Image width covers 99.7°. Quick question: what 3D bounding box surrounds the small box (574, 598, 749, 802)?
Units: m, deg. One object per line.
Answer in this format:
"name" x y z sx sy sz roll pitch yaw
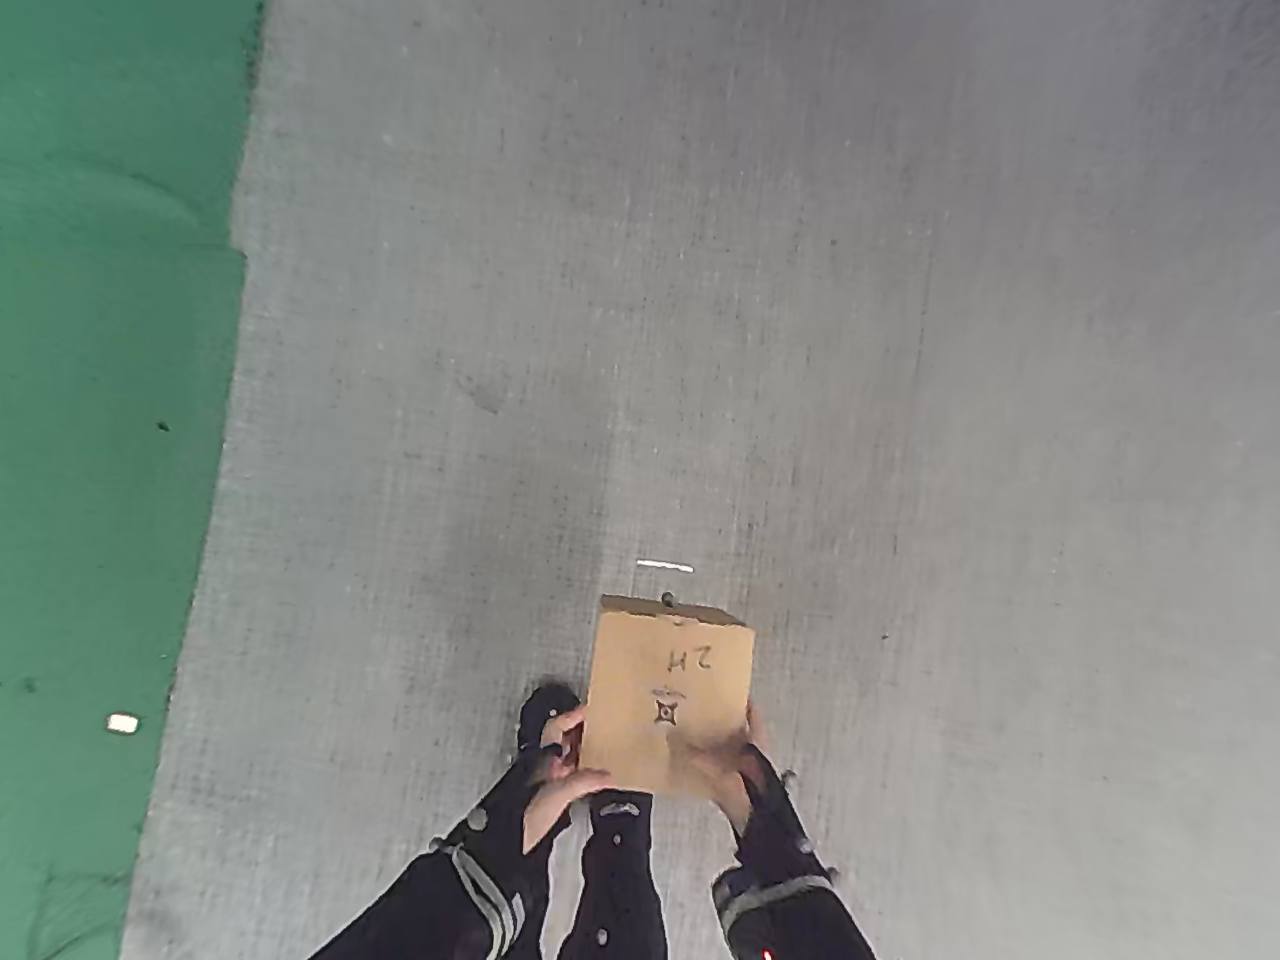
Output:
"small box" 0.021 0.245 0.642 0.168 0.176 0.179 8 82 -2
